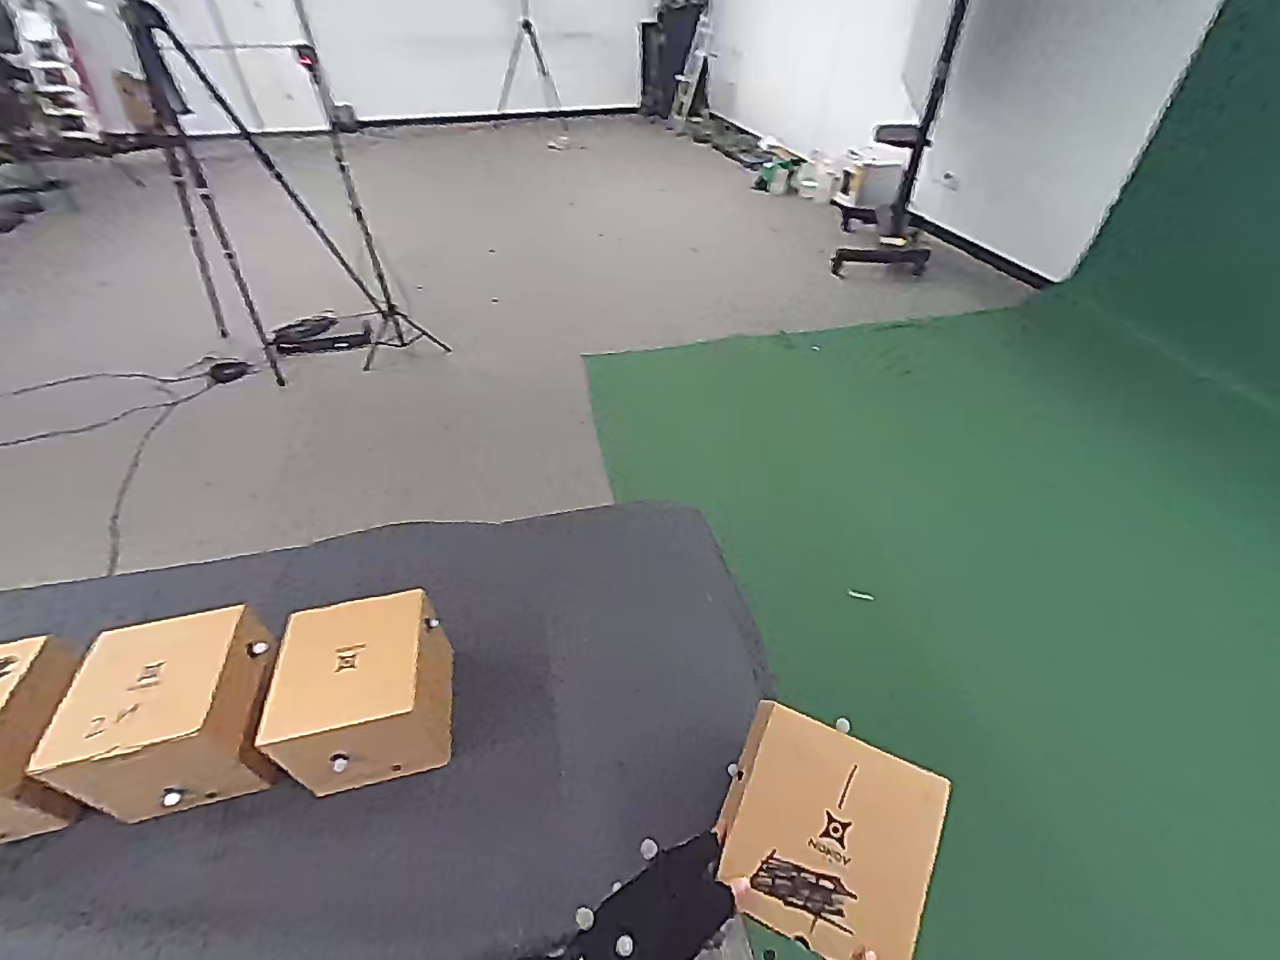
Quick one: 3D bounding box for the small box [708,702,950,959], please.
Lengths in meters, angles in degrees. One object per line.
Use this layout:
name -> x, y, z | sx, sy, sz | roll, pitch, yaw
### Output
small box -> 0.179, 0.347, 0.551 | 0.168, 0.176, 0.179 | 21, 72, 15

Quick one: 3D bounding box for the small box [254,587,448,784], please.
small box -> -0.356, 0.273, 0.708 | 0.168, 0.176, 0.179 | -10, 43, -10

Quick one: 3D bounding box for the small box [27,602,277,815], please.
small box -> -0.579, 0.288, 0.688 | 0.168, 0.176, 0.179 | -10, 43, -10
